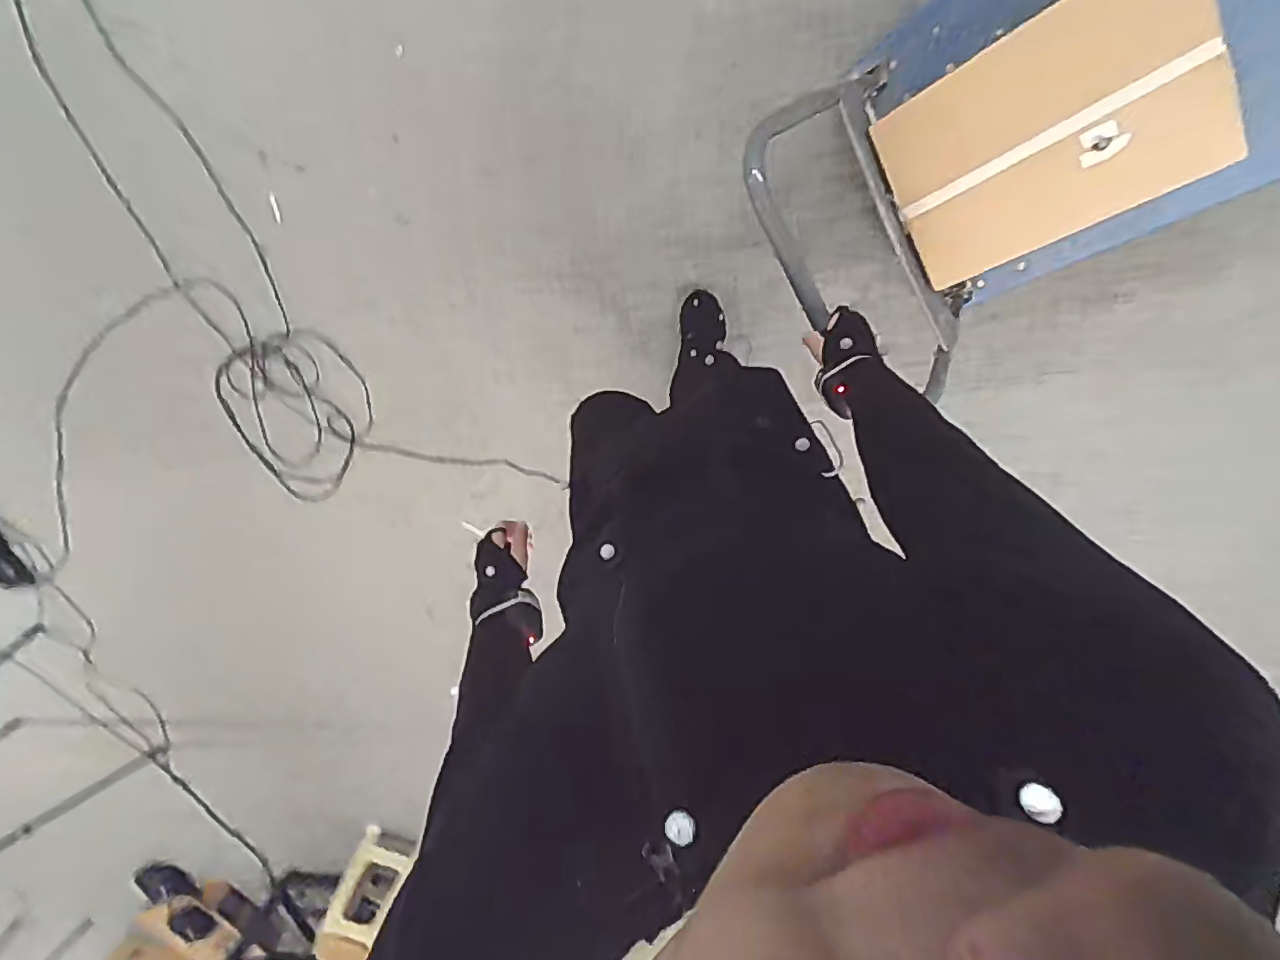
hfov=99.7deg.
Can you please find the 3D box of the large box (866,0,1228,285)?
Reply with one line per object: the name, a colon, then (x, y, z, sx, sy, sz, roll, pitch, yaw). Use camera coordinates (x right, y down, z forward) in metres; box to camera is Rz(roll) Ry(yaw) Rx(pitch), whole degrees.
large box: (0.674, -0.613, 0.956, 0.408, 0.320, 0.320, -19, 111, 39)
